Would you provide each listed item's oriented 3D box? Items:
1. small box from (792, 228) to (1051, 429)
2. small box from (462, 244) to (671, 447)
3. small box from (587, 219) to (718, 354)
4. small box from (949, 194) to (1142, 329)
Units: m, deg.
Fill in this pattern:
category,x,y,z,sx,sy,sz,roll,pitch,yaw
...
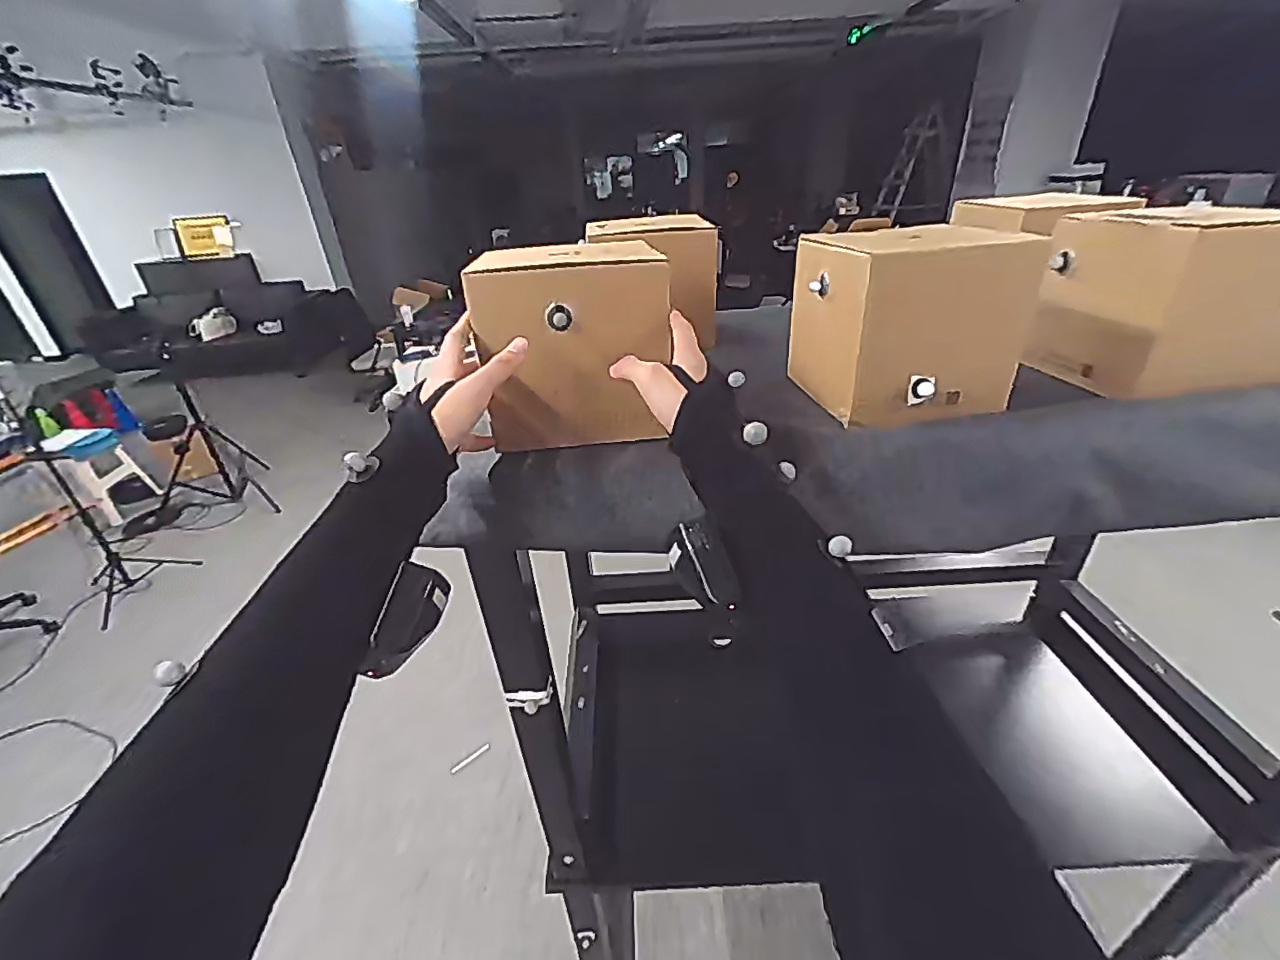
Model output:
category,x,y,z,sx,sy,sz,roll,pitch,yaw
small box,0.270,-0.165,0.570,0.168,0.176,0.179,-6,29,-3
small box,-0.066,-0.141,0.556,0.179,0.176,0.168,-5,29,-5
small box,0.014,-0.292,0.818,0.179,0.176,0.168,-4,30,-2
small box,0.590,-0.333,0.829,0.168,0.176,0.179,-4,30,-1
